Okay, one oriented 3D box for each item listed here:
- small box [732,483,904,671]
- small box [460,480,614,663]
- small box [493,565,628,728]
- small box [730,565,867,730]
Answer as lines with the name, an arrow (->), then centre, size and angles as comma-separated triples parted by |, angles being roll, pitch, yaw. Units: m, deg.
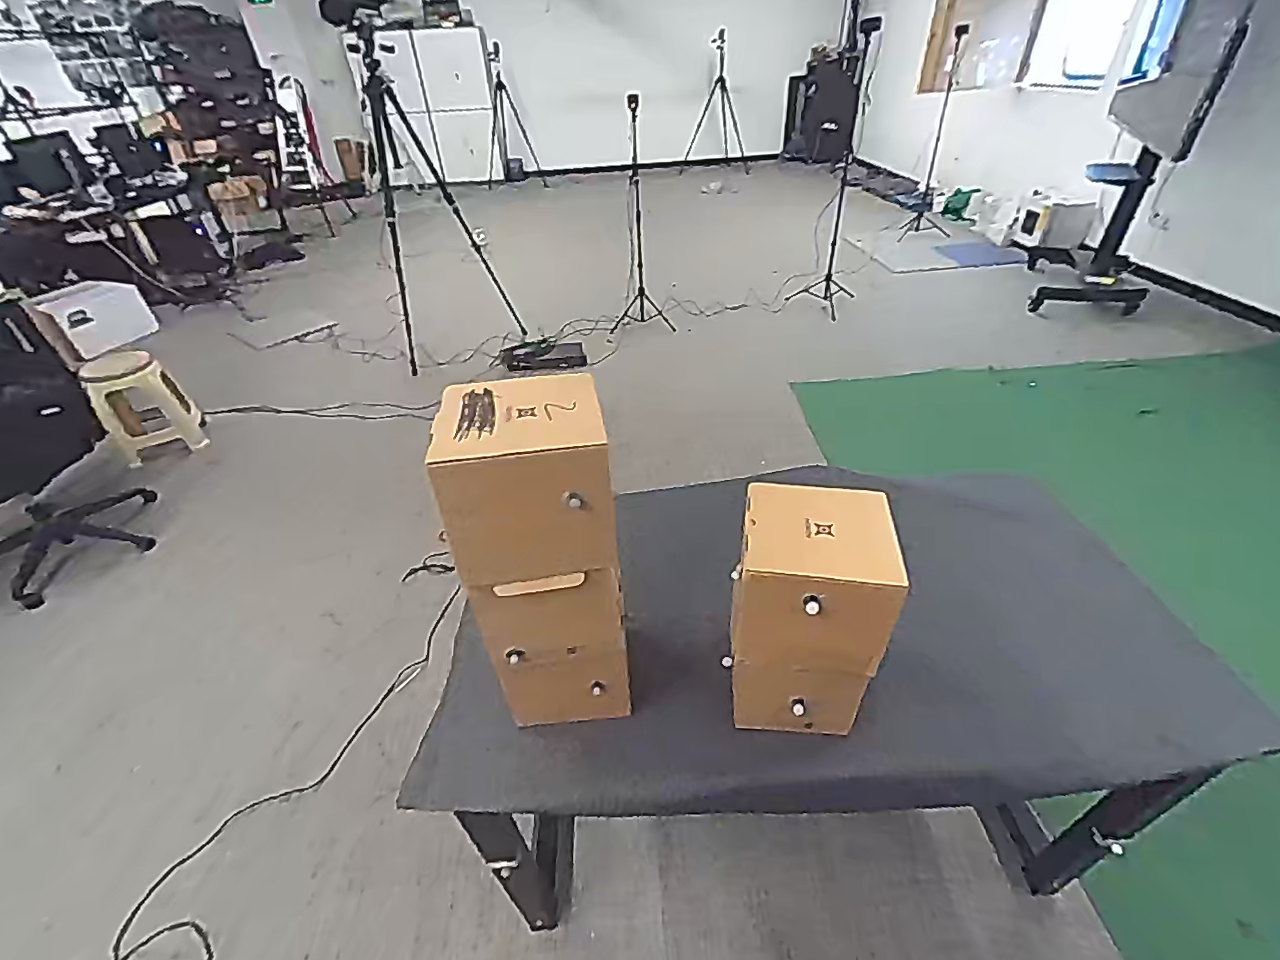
small box -> 0.215, 0.123, 0.695 | 0.179, 0.176, 0.168 | 3, 38, 11
small box -> -0.129, 0.125, 0.726 | 0.168, 0.176, 0.179 | -8, 36, -6
small box -> -0.111, 0.254, 0.827 | 0.179, 0.176, 0.168 | -6, 36, -2
small box -> 0.221, 0.247, 0.802 | 0.168, 0.176, 0.179 | 0, 38, 6
